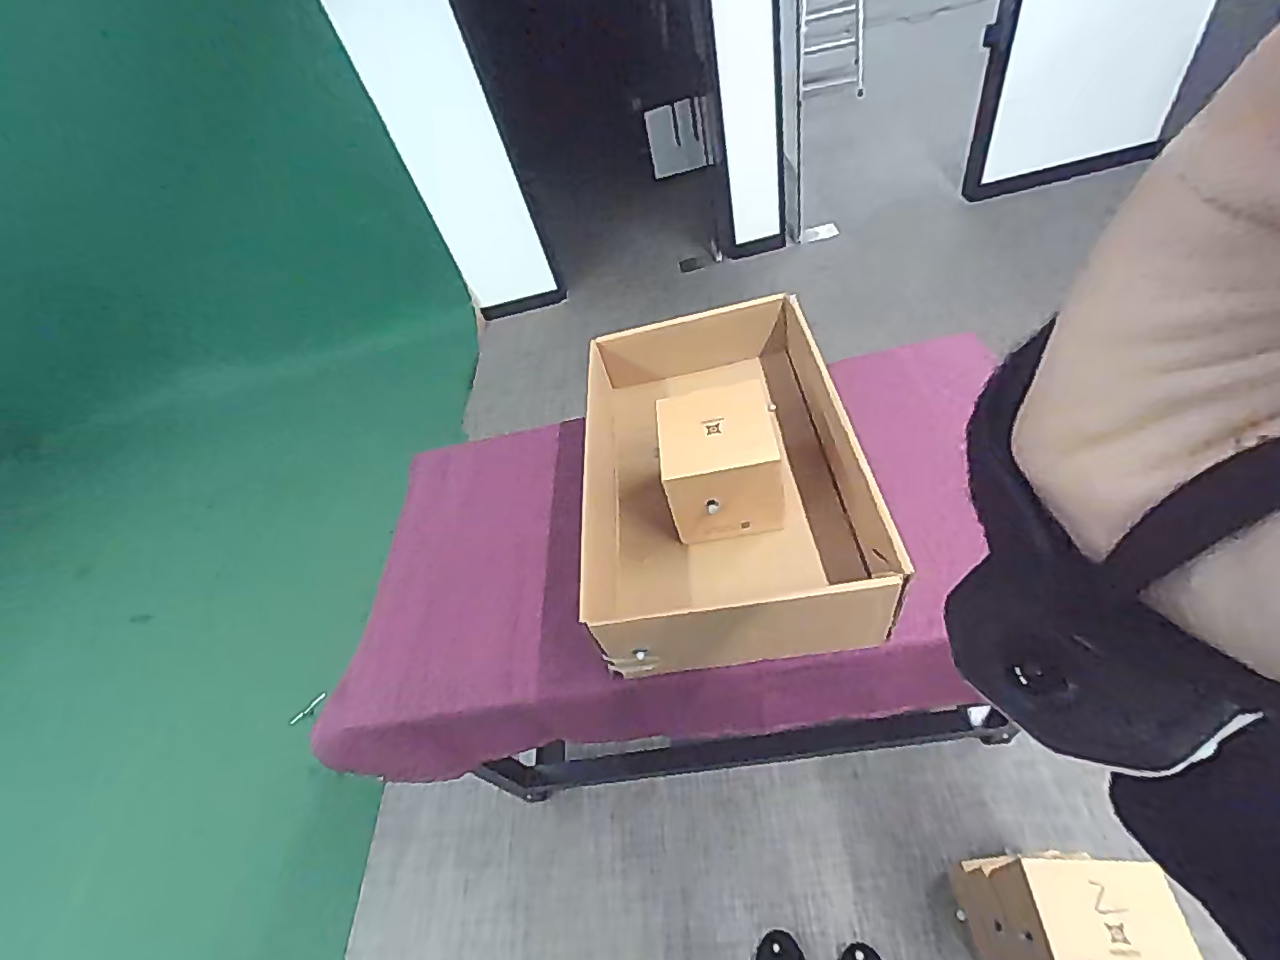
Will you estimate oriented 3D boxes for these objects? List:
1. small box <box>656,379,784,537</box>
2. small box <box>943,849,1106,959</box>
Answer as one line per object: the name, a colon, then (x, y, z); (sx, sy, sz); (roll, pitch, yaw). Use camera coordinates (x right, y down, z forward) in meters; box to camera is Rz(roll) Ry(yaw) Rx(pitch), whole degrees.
small box: (0.126, -0.025, 0.849); (0.168, 0.176, 0.179); (-11, 48, 10)
small box: (0.704, 0.807, 1.015); (0.179, 0.176, 0.168); (-13, 48, 8)
